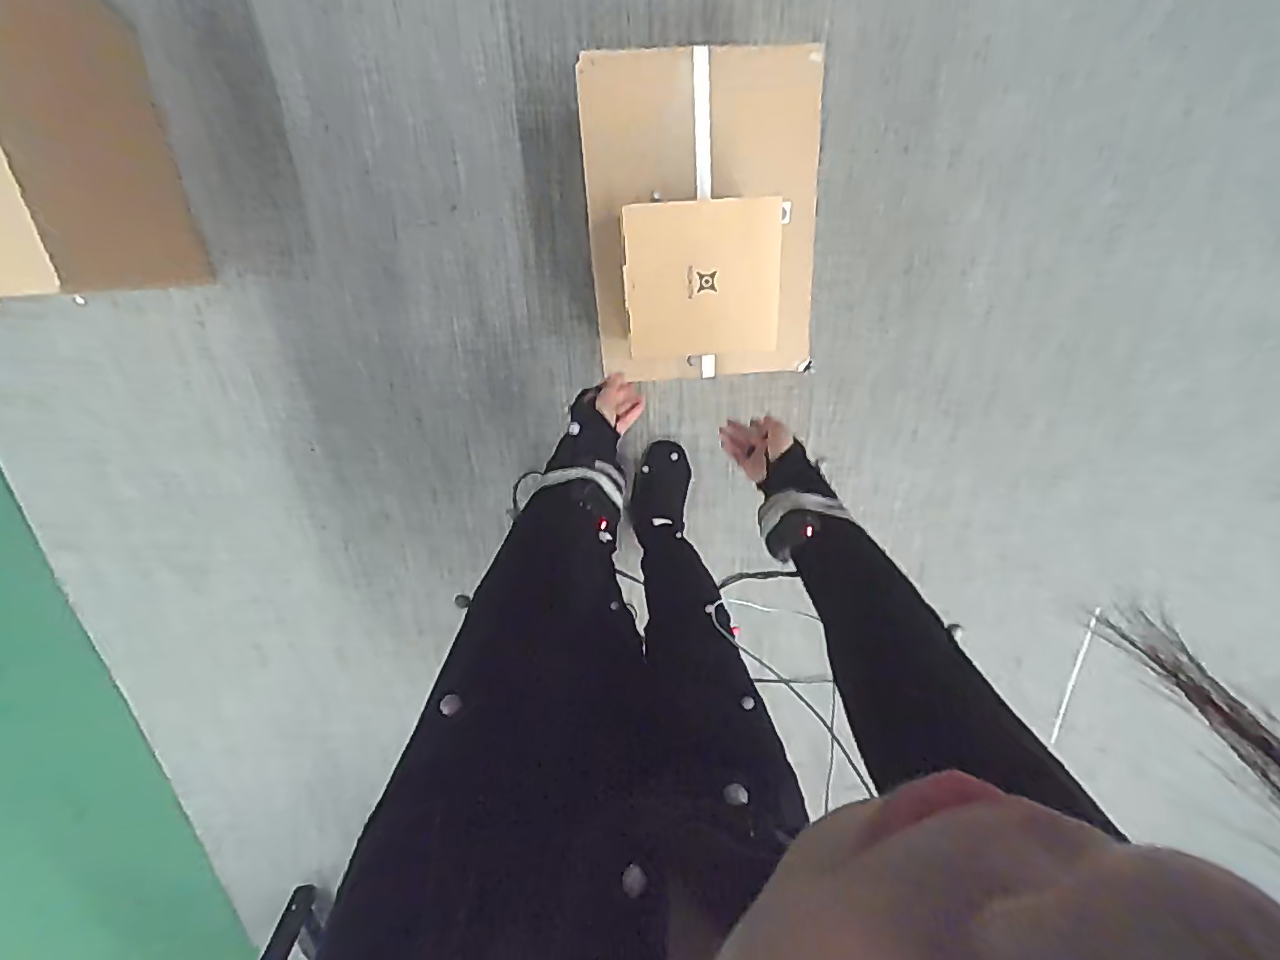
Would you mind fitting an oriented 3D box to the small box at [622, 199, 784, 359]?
[{"bbox_3d":[0.069,-0.254,0.678,0.179,0.176,0.168,-3,113,1],"label":"small box"}]

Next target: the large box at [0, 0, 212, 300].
[{"bbox_3d":[-0.941,-0.482,0.786,0.320,0.320,0.408,-4,112,-1],"label":"large box"}]
